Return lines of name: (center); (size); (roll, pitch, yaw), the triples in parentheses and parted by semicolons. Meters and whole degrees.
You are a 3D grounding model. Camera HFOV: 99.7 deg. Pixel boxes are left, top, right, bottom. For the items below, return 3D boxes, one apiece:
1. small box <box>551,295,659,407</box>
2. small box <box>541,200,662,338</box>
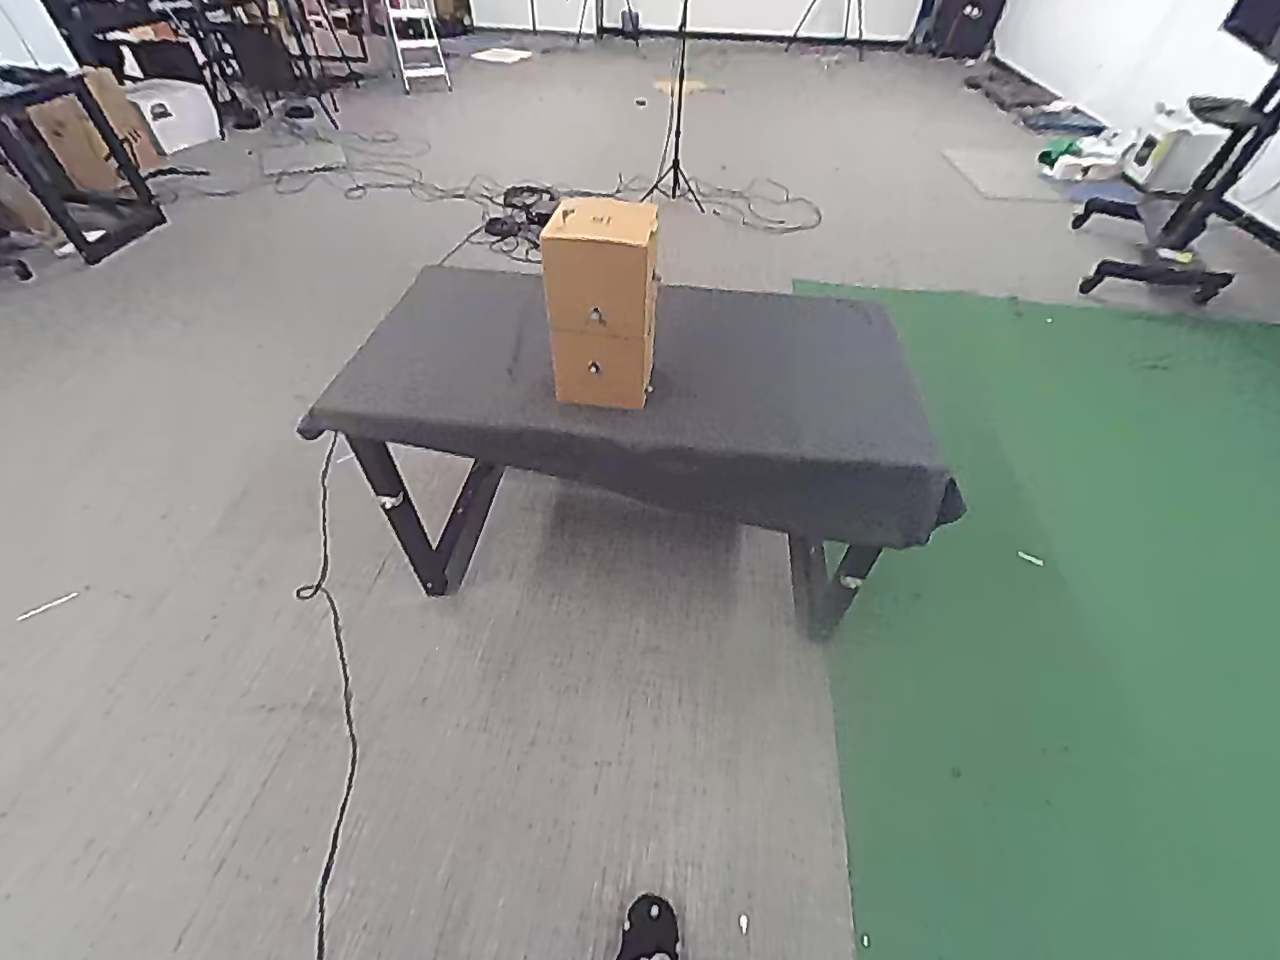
small box: (-0.064, -0.265, 1.081); (0.179, 0.176, 0.168); (9, 46, 6)
small box: (-0.062, -0.372, 0.961); (0.179, 0.176, 0.168); (8, 47, 5)
